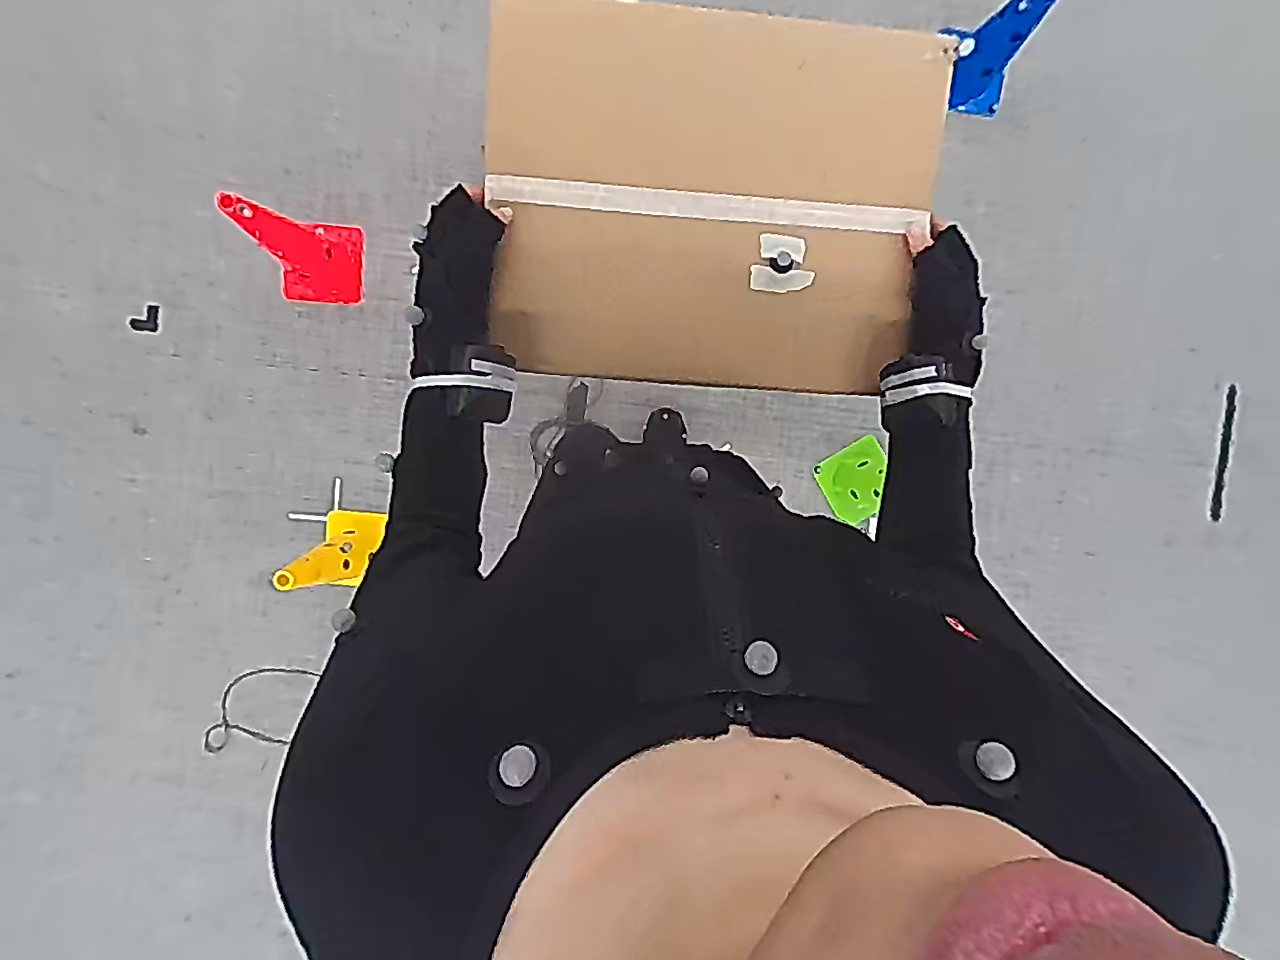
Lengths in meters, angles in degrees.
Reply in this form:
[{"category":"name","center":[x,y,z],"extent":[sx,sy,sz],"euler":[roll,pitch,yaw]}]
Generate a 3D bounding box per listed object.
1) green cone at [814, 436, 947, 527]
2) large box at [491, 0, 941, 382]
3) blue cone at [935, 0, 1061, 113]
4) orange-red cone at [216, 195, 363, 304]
[{"category":"green cone","center":[0.615,0.013,1.320],"extent":[0.202,0.368,0.200],"euler":[-31,95,-2]},{"category":"large box","center":[0.055,-0.282,0.640],"extent":[0.408,0.320,0.320],"euler":[3,101,-4]},{"category":"blue cone","center":[0.893,-1.084,1.289],"extent":[0.192,0.380,0.193],"euler":[9,93,-4]},{"category":"orange-red cone","center":[-0.813,-0.549,1.229],"extent":[0.198,0.360,0.199],"euler":[4,94,-2]}]
